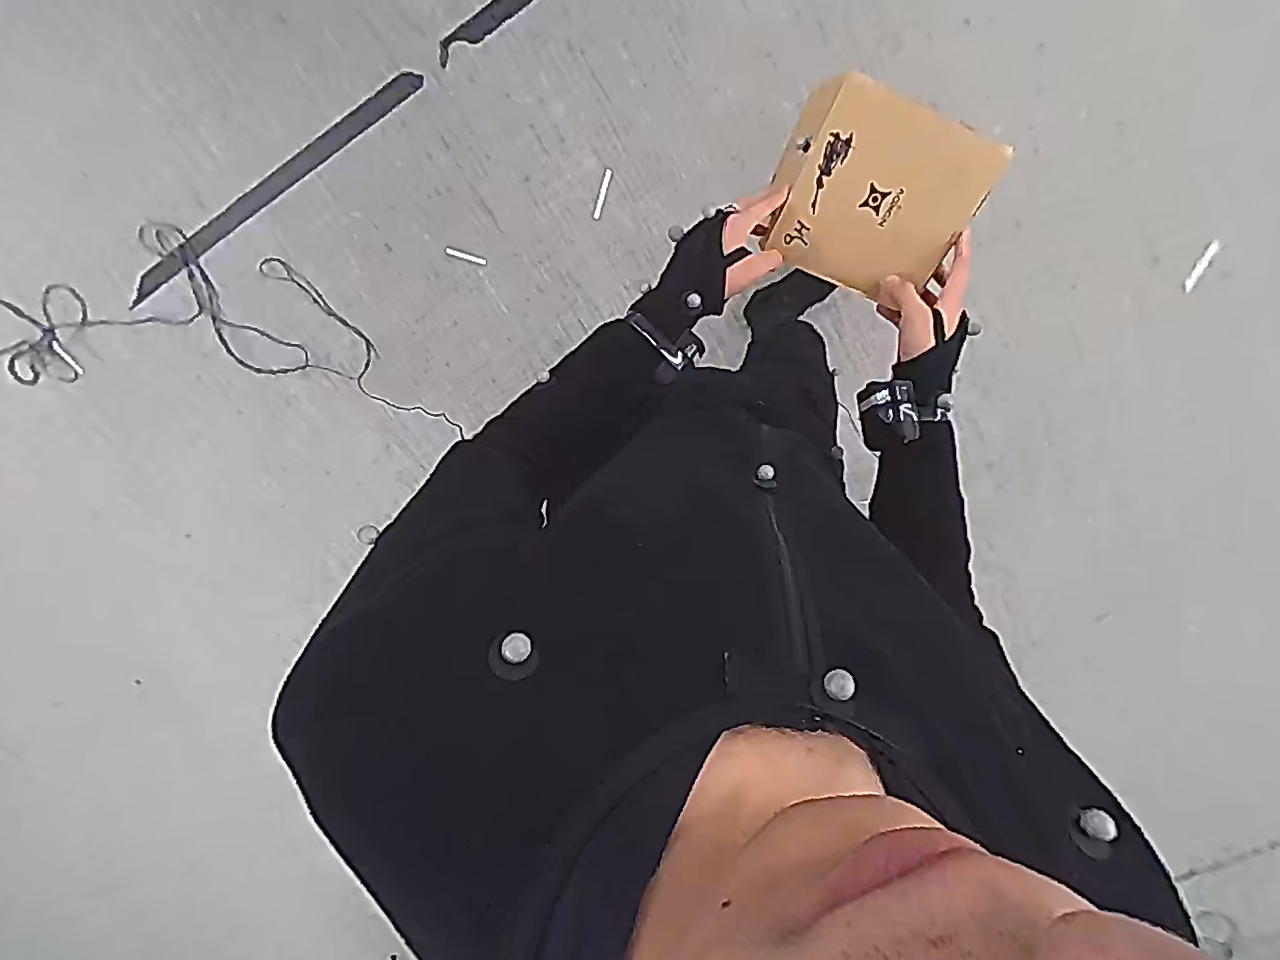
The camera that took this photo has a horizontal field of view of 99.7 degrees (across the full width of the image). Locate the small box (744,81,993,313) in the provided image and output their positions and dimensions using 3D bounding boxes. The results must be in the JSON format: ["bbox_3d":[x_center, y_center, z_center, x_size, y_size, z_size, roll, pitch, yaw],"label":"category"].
[{"bbox_3d":[0.234,-0.319,0.608,0.179,0.176,0.168,20,124,-8],"label":"small box"}]
